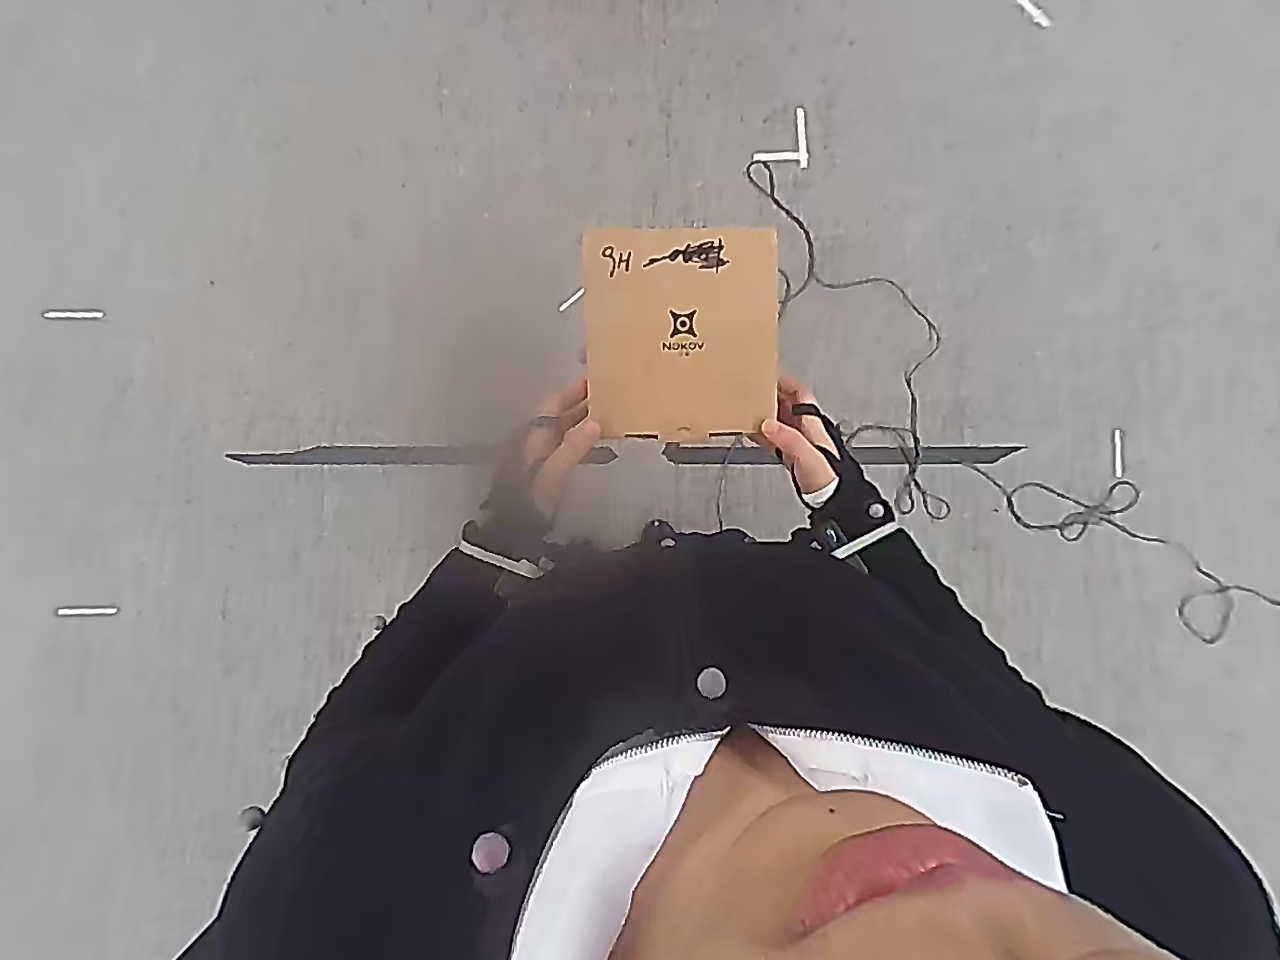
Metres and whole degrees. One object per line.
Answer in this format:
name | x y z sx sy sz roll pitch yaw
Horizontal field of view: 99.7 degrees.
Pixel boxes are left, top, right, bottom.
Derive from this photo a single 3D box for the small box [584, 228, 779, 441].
small box | 0.035 -0.133 0.539 0.168 0.176 0.179 -2 97 -2
